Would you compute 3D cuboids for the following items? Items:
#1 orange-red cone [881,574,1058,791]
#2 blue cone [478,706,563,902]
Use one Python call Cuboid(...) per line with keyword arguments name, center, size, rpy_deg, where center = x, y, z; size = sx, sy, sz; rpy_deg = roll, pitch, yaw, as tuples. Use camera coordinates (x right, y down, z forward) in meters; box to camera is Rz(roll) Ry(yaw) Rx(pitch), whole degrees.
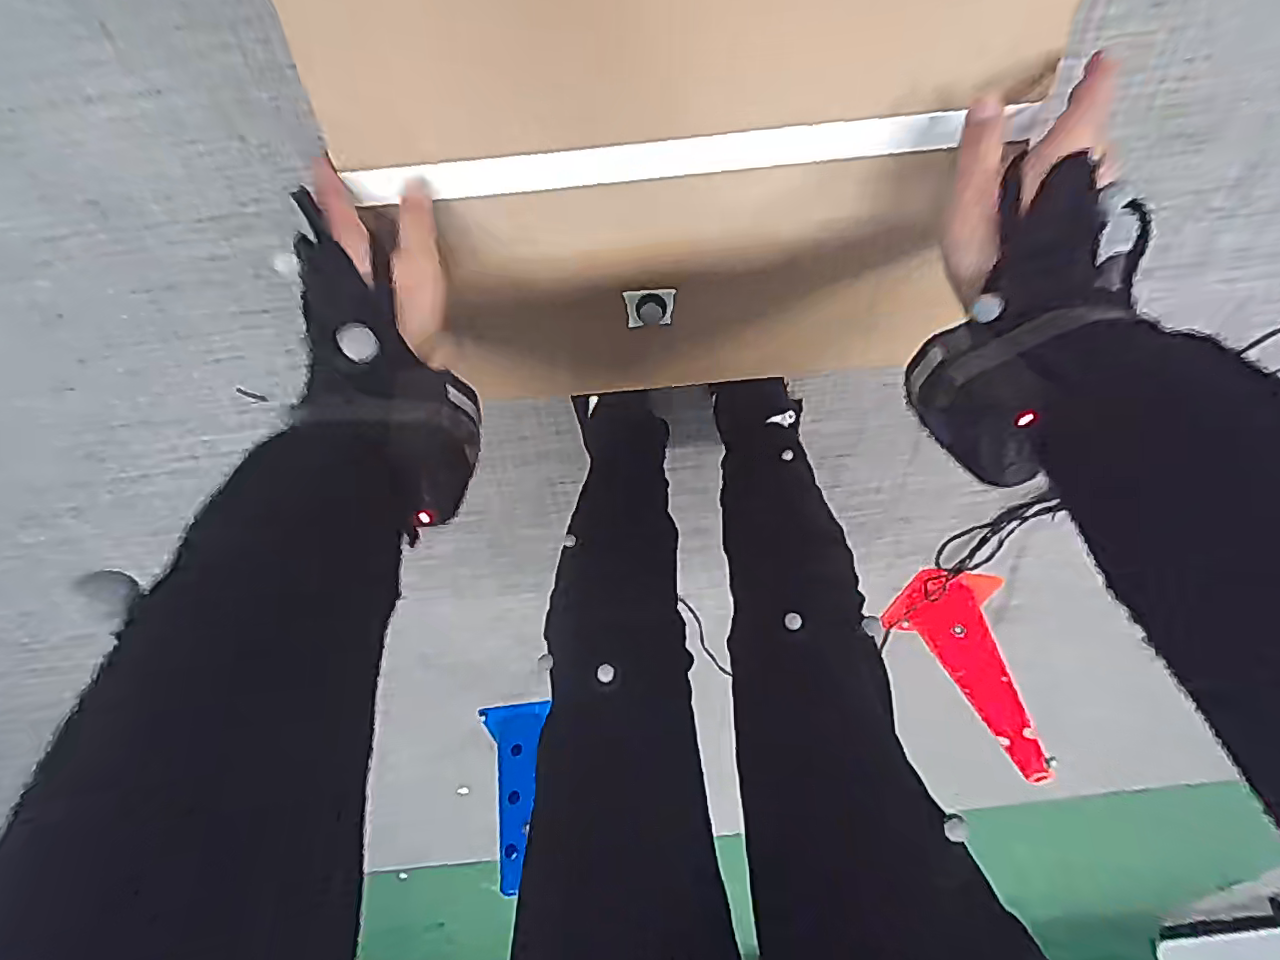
Cuboid(name="orange-red cone", center=(0.642, 0.377, 1.000), size=(0.199, 0.360, 0.198), rpy_deg=(8, 129, -12))
Cuboid(name="blue cone", center=(-0.290, 0.736, 1.247), size=(0.192, 0.380, 0.193), rpy_deg=(-6, 129, 1))
